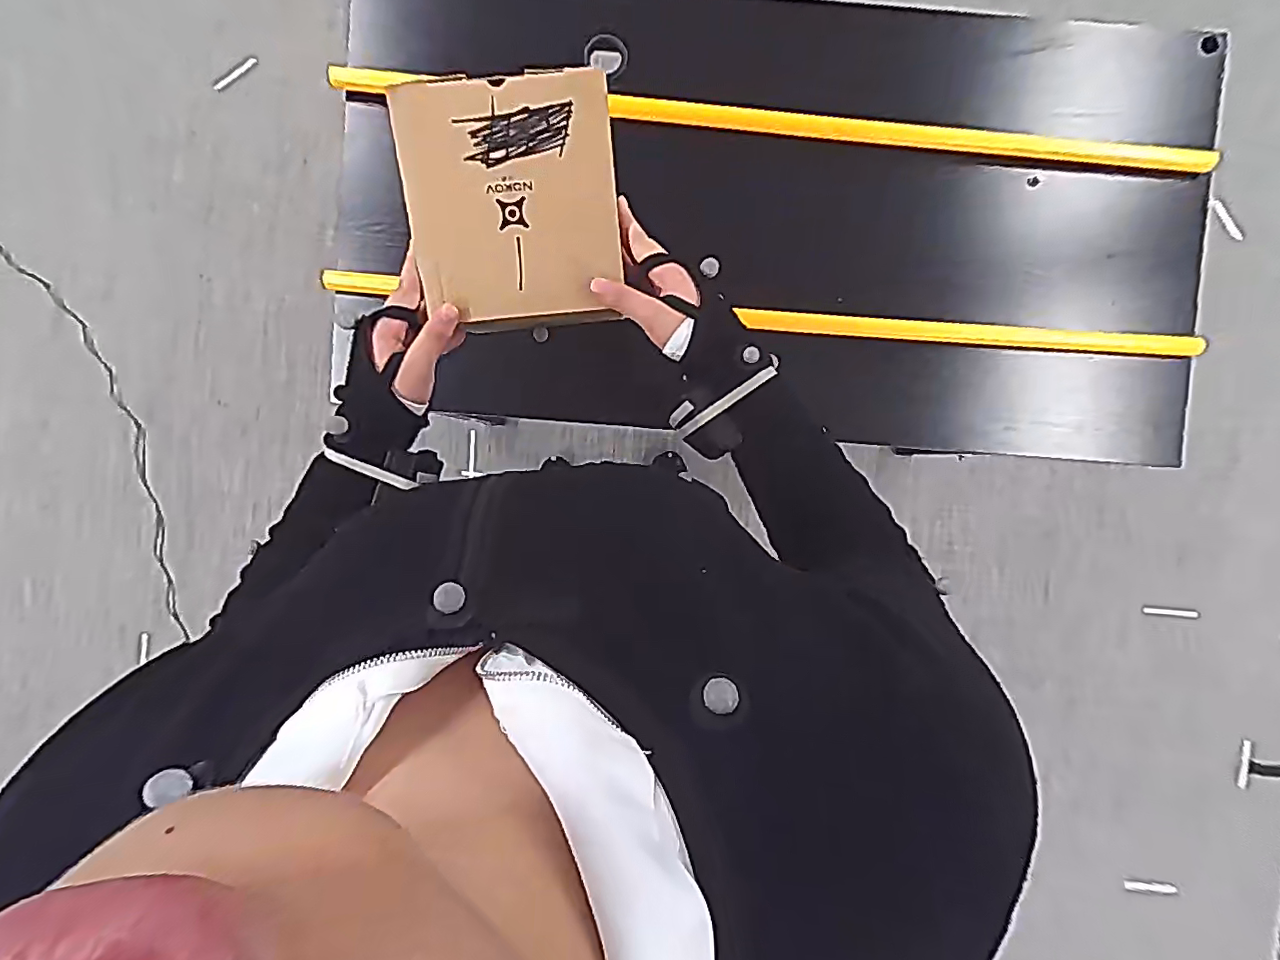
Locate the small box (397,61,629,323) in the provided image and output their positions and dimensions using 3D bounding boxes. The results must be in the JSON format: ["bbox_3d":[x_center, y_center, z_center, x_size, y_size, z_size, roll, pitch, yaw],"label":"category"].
[{"bbox_3d":[-0.101,-0.245,0.502,0.168,0.176,0.179,-5,104,-2],"label":"small box"}]
